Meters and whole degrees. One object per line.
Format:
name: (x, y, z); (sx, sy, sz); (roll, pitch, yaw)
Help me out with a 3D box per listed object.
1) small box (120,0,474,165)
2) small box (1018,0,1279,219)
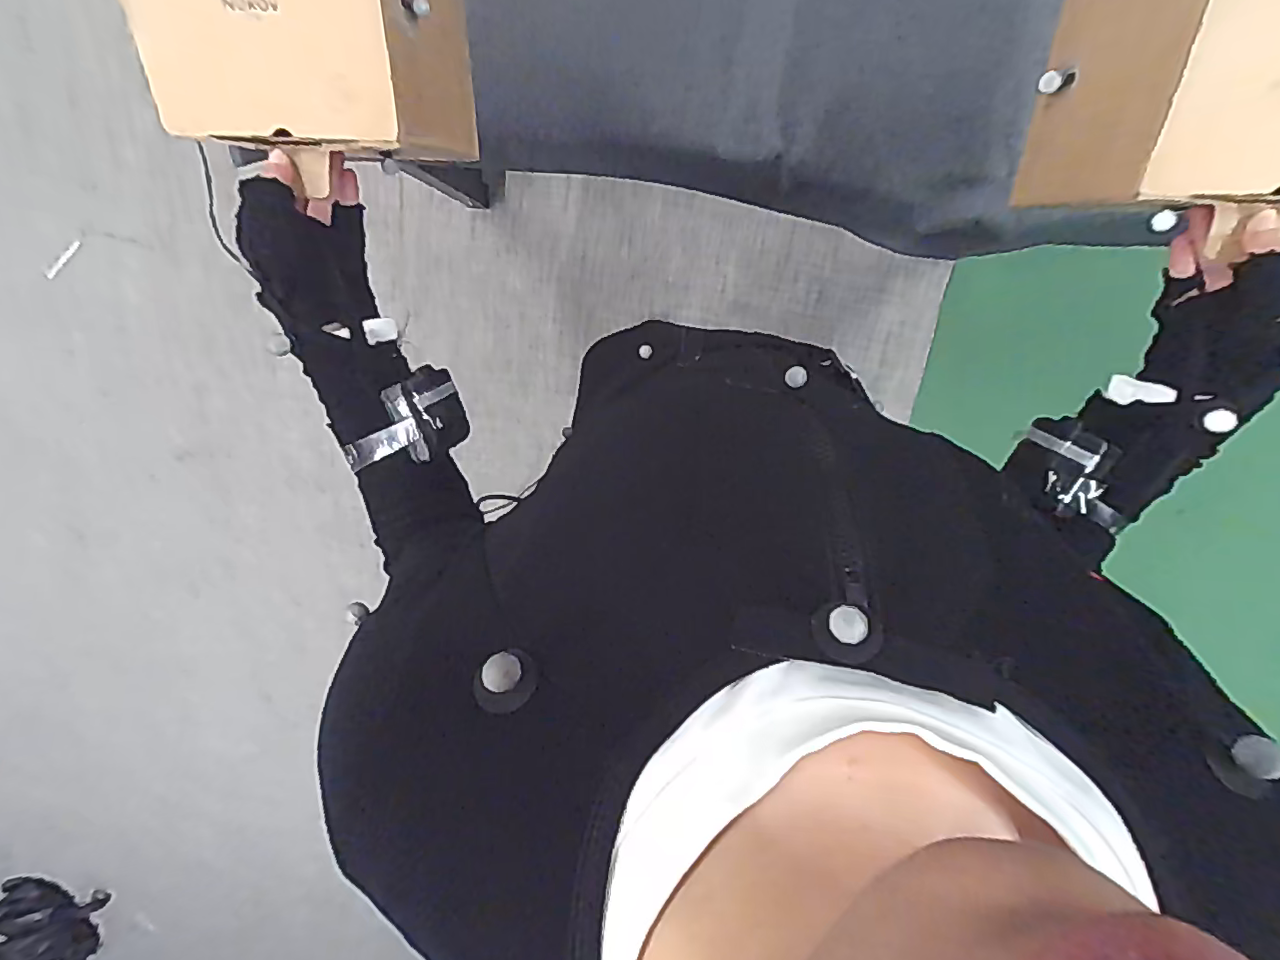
small box: (-0.232, -0.336, 0.395); (0.168, 0.176, 0.179); (2, 116, 1)
small box: (0.400, -0.278, 0.369); (0.168, 0.176, 0.179); (4, 116, 6)
